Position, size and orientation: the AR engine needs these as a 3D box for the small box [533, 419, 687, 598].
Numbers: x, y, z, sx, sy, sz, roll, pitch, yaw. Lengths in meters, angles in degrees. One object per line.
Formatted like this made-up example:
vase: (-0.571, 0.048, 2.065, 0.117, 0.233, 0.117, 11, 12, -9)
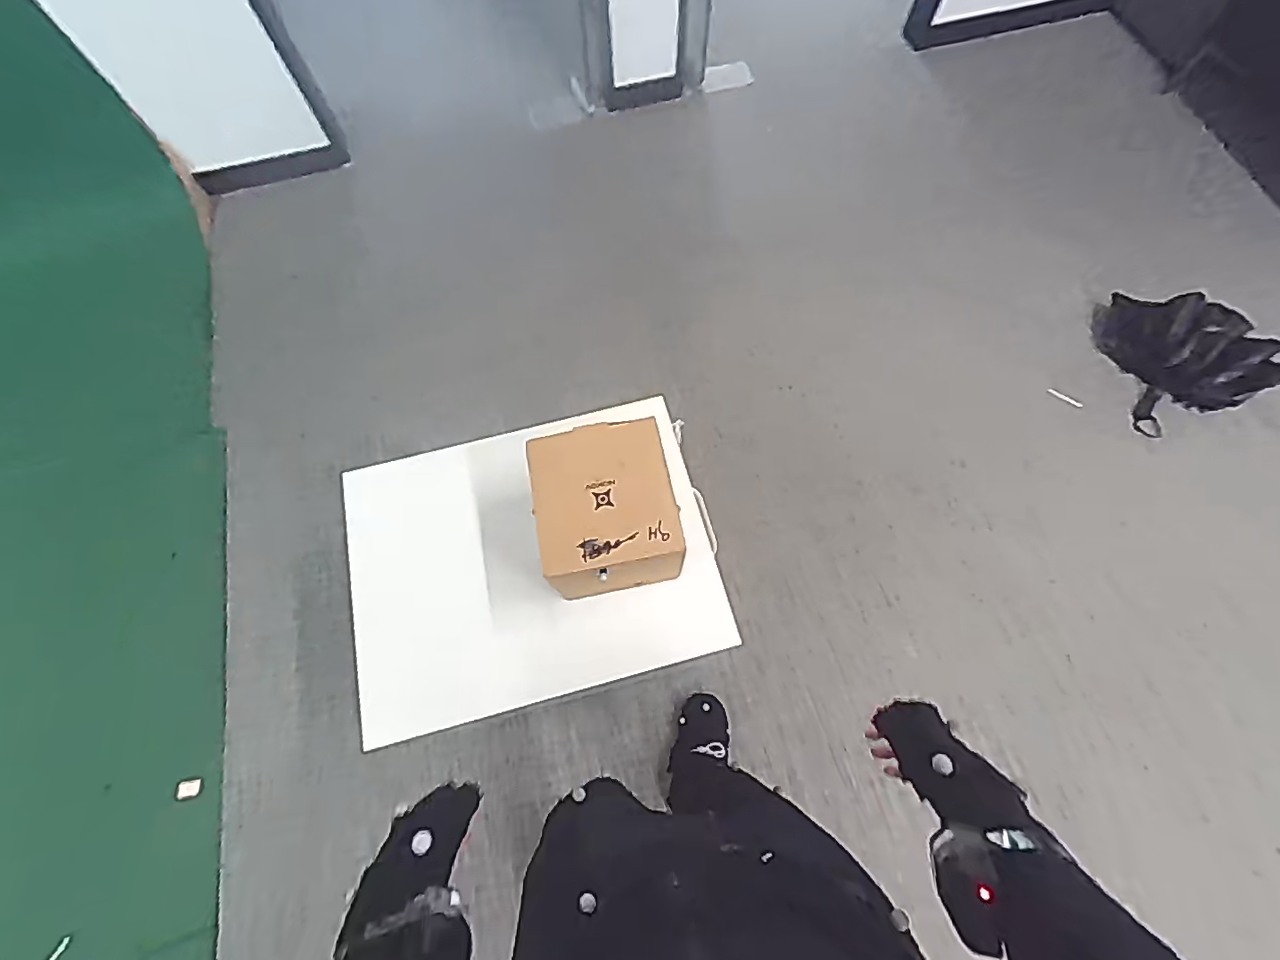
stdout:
small box: (-0.039, 0.045, 0.717, 0.168, 0.176, 0.179, -10, 69, -2)
